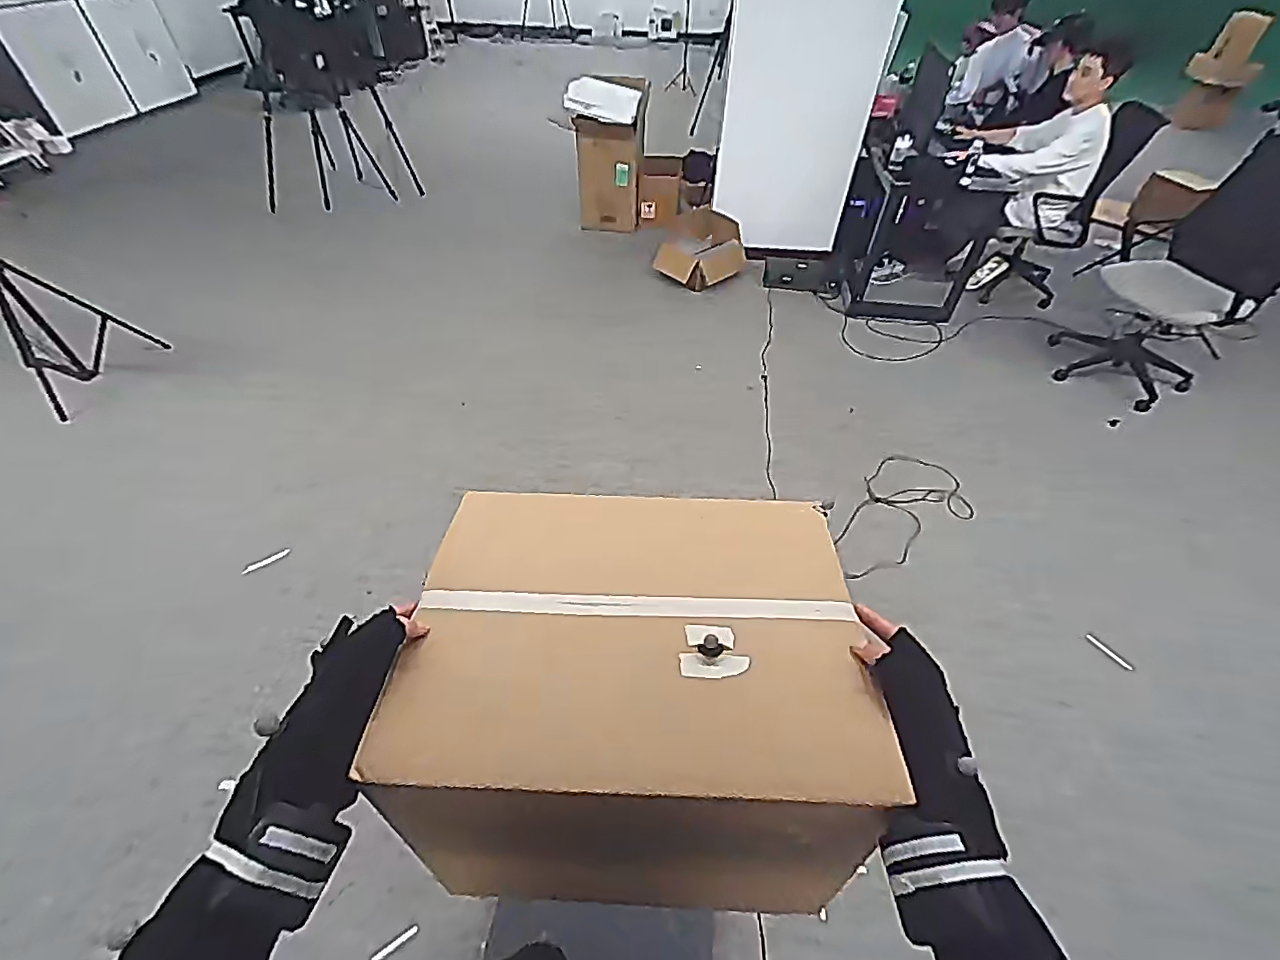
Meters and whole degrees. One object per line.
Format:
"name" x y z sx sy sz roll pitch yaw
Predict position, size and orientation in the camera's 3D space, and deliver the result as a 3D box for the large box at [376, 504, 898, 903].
"large box" -0.002 0.244 0.611 0.408 0.320 0.320 2 40 1
